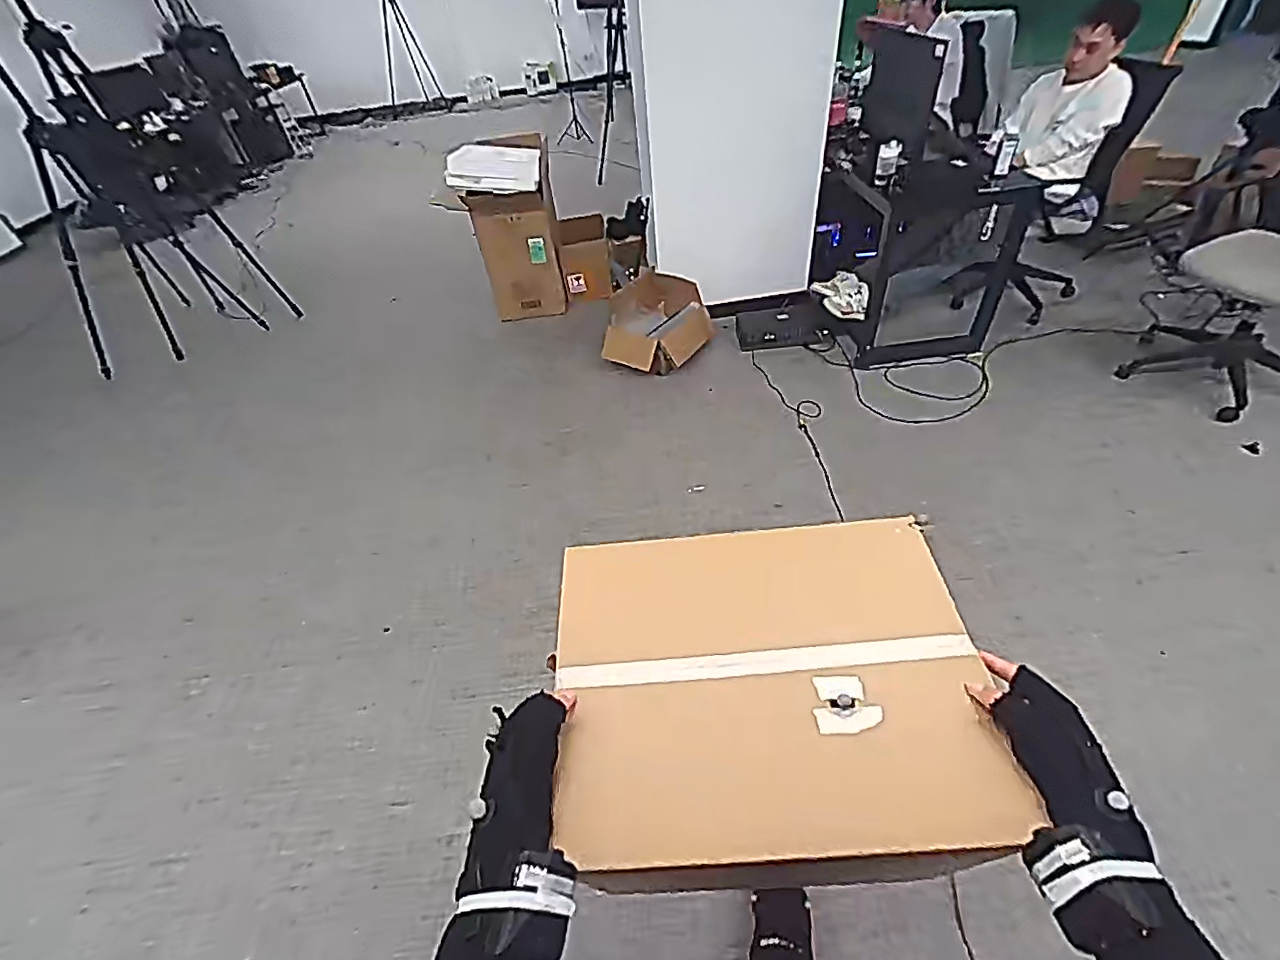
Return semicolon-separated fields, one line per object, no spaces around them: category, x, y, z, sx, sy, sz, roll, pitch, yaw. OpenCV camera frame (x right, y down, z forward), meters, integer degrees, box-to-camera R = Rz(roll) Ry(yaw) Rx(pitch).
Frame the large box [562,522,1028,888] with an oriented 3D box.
large box;0.133;0.283;0.664;0.408;0.320;0.320;-6;50;2
